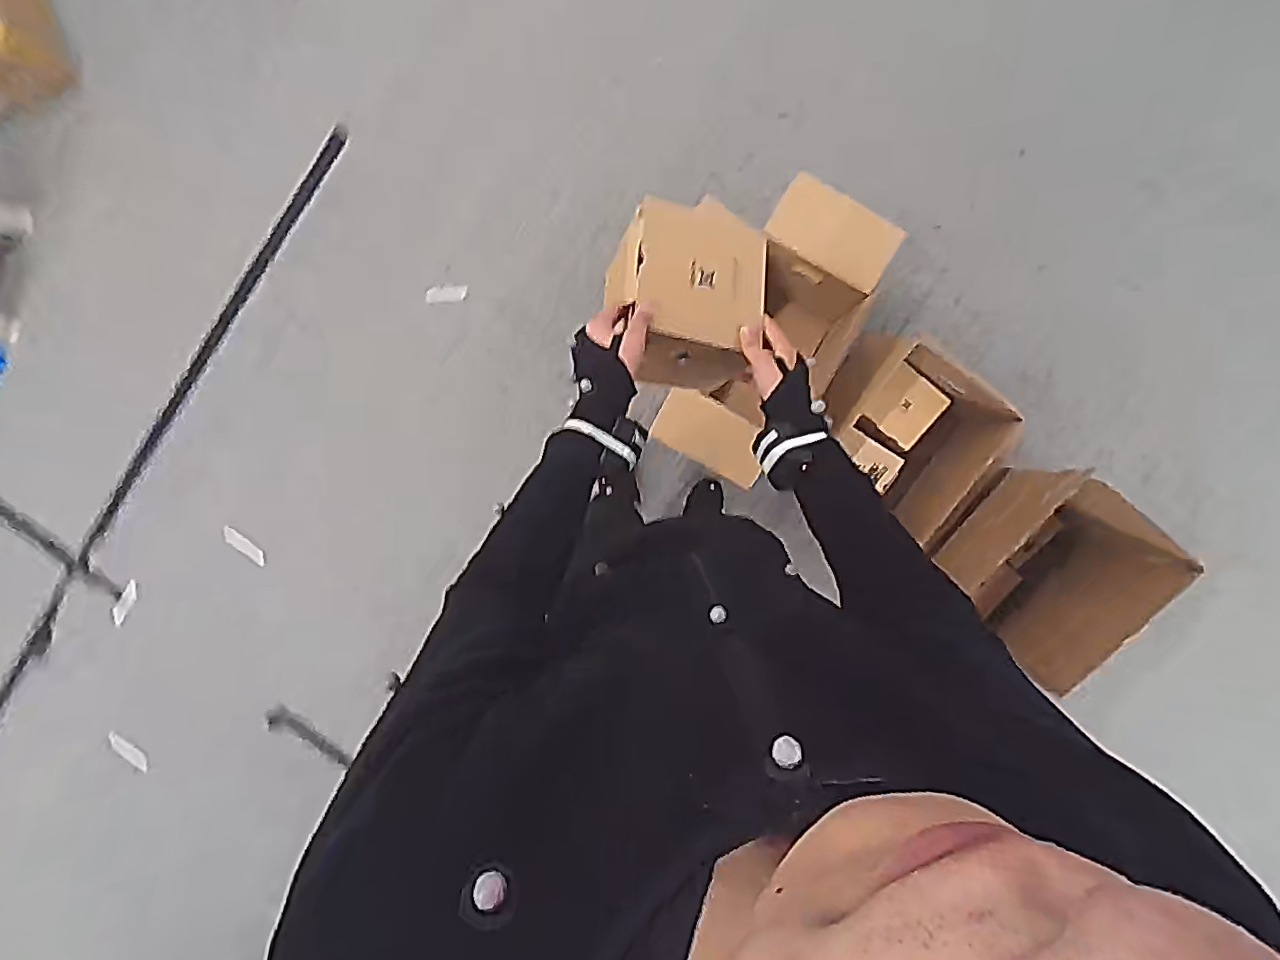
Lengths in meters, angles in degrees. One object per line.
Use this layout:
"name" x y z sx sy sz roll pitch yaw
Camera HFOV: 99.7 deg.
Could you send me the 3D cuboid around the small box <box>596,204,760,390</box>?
"small box" 0.043 -0.231 0.729 0.179 0.176 0.168 6 81 -17
